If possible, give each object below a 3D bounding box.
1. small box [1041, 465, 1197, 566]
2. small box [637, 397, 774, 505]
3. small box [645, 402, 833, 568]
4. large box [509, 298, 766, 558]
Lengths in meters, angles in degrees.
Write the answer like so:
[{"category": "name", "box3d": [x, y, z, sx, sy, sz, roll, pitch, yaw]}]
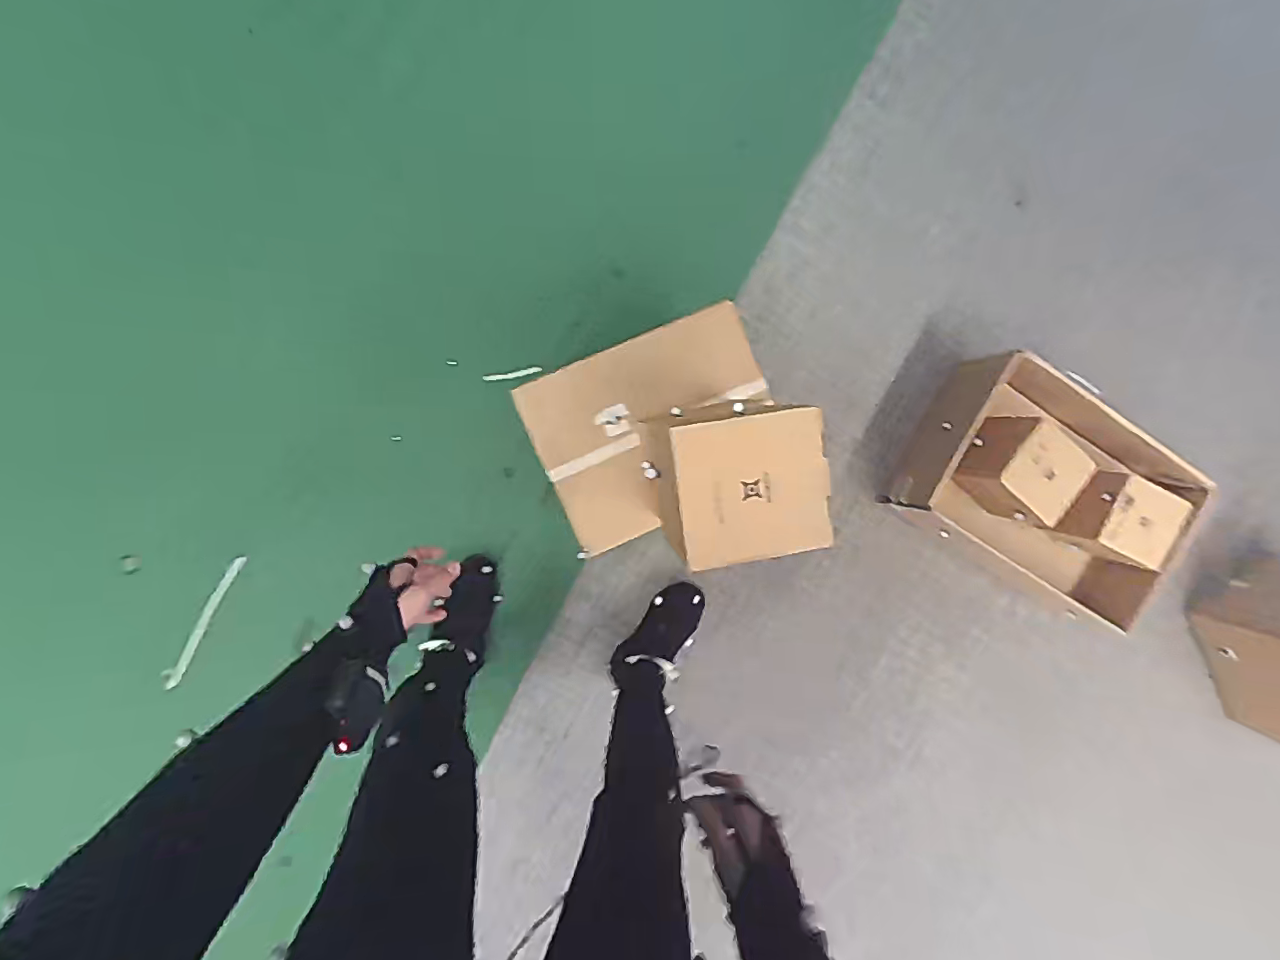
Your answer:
[{"category": "small box", "box3d": [1.079, 0.072, 1.232, 0.179, 0.176, 0.168, 24, 92, -10]}, {"category": "small box", "box3d": [0.104, -0.033, 0.829, 0.179, 0.176, 0.168, -13, 100, -6]}, {"category": "small box", "box3d": [0.112, -0.006, 0.667, 0.179, 0.176, 0.168, -9, 98, -7]}, {"category": "large box", "box3d": [0.007, -0.104, 1.055, 0.408, 0.320, 0.320, -24, 98, -4]}]
